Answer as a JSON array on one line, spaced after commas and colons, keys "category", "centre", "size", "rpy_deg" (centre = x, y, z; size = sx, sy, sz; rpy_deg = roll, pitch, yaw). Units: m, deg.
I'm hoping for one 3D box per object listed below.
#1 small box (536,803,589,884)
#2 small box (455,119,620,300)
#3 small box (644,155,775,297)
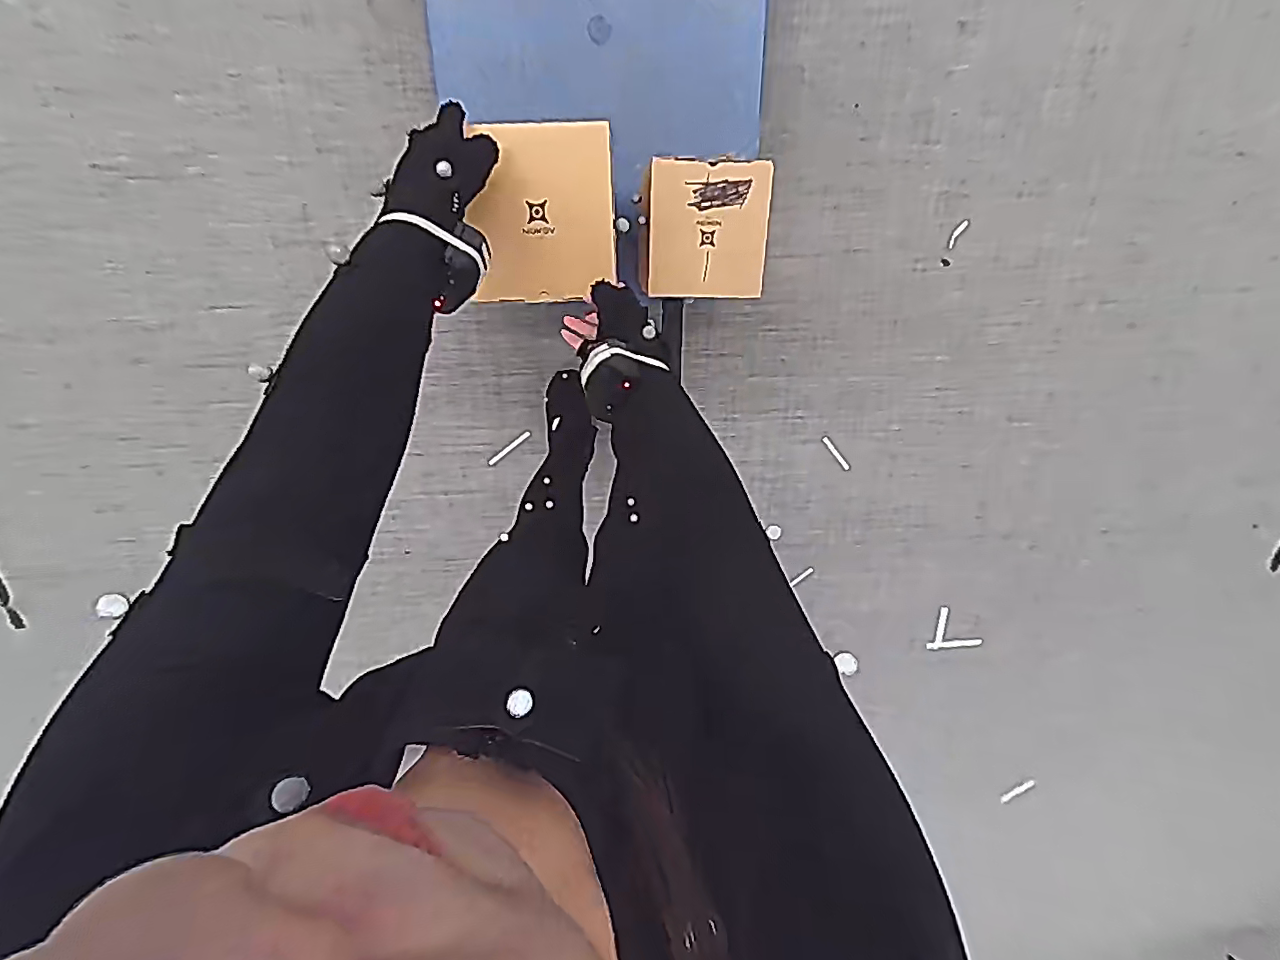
[{"category": "small box", "centre": [-0.265, 1.268, 1.890], "size": [0.168, 0.176, 0.179], "rpy_deg": [-1, 112, -3]}, {"category": "small box", "centre": [-0.111, -0.317, 0.658], "size": [0.168, 0.176, 0.179], "rpy_deg": [-2, 113, -2]}, {"category": "small box", "centre": [0.093, -0.377, 0.820], "size": [0.168, 0.176, 0.179], "rpy_deg": [0, 113, -3]}]
